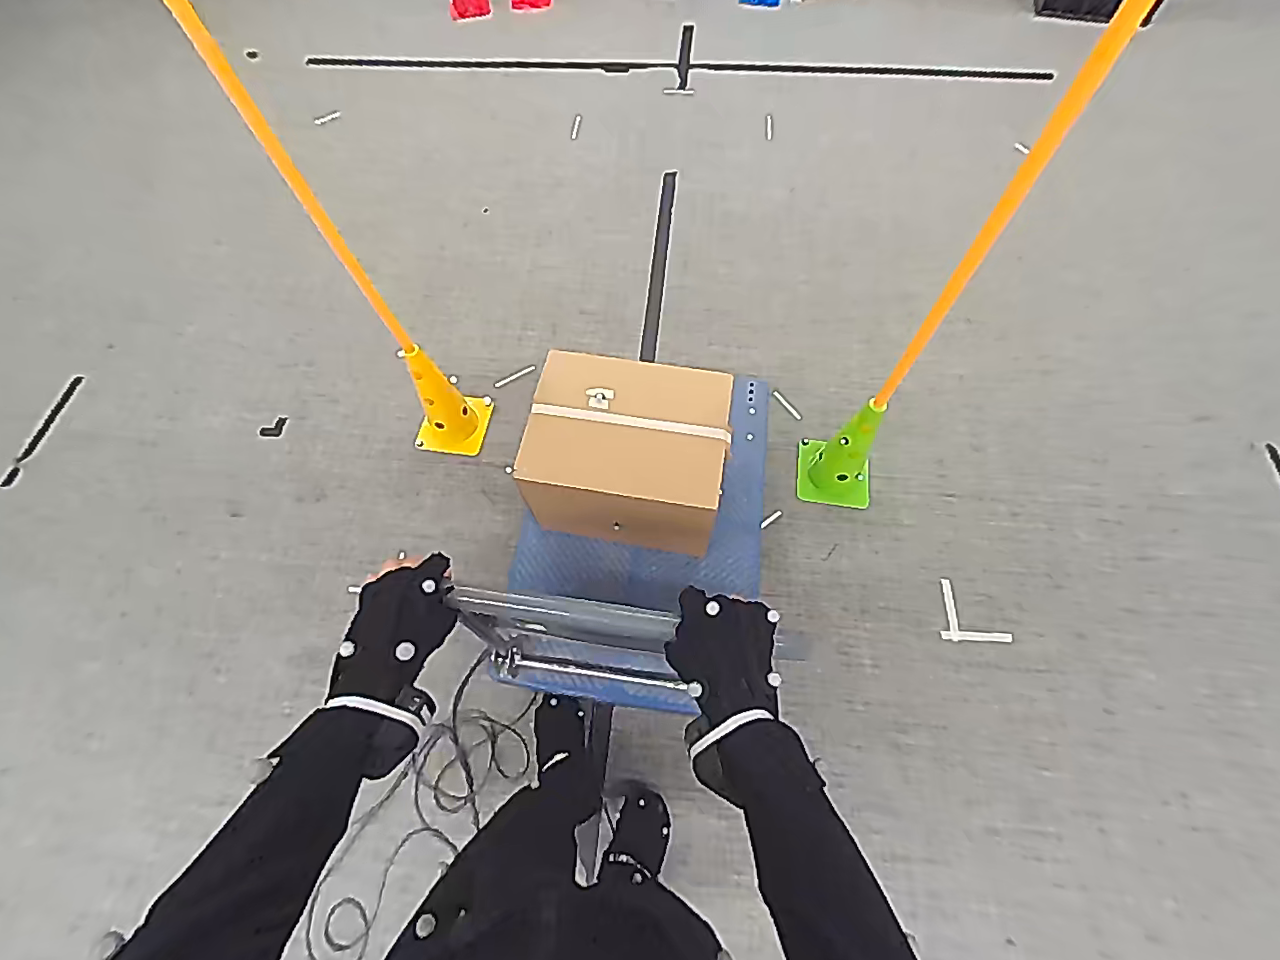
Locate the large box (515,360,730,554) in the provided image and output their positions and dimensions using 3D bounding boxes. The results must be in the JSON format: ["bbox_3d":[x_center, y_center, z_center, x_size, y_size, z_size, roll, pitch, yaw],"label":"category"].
[{"bbox_3d":[-0.020,-0.040,1.241,0.408,0.320,0.320,9,66,7],"label":"large box"}]

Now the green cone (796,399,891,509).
[{"bbox_3d":[0.554,-0.092,1.406,0.202,0.368,0.200,9,65,4],"label":"green cone"}]
